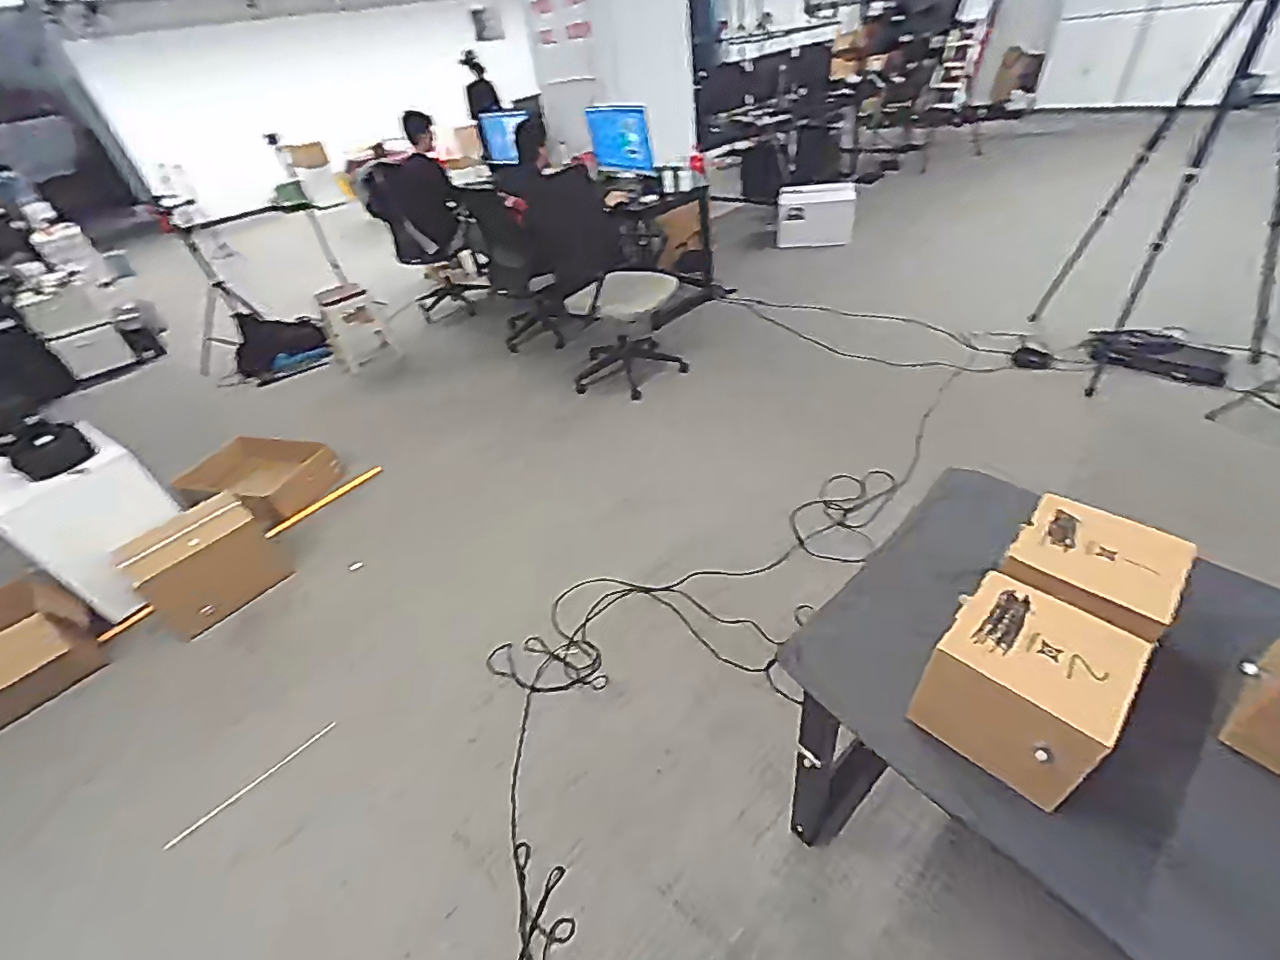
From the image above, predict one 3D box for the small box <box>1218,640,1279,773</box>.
[{"bbox_3d":[0.824,0.261,0.601,0.168,0.176,0.179,-32,44,-25],"label":"small box"}]
